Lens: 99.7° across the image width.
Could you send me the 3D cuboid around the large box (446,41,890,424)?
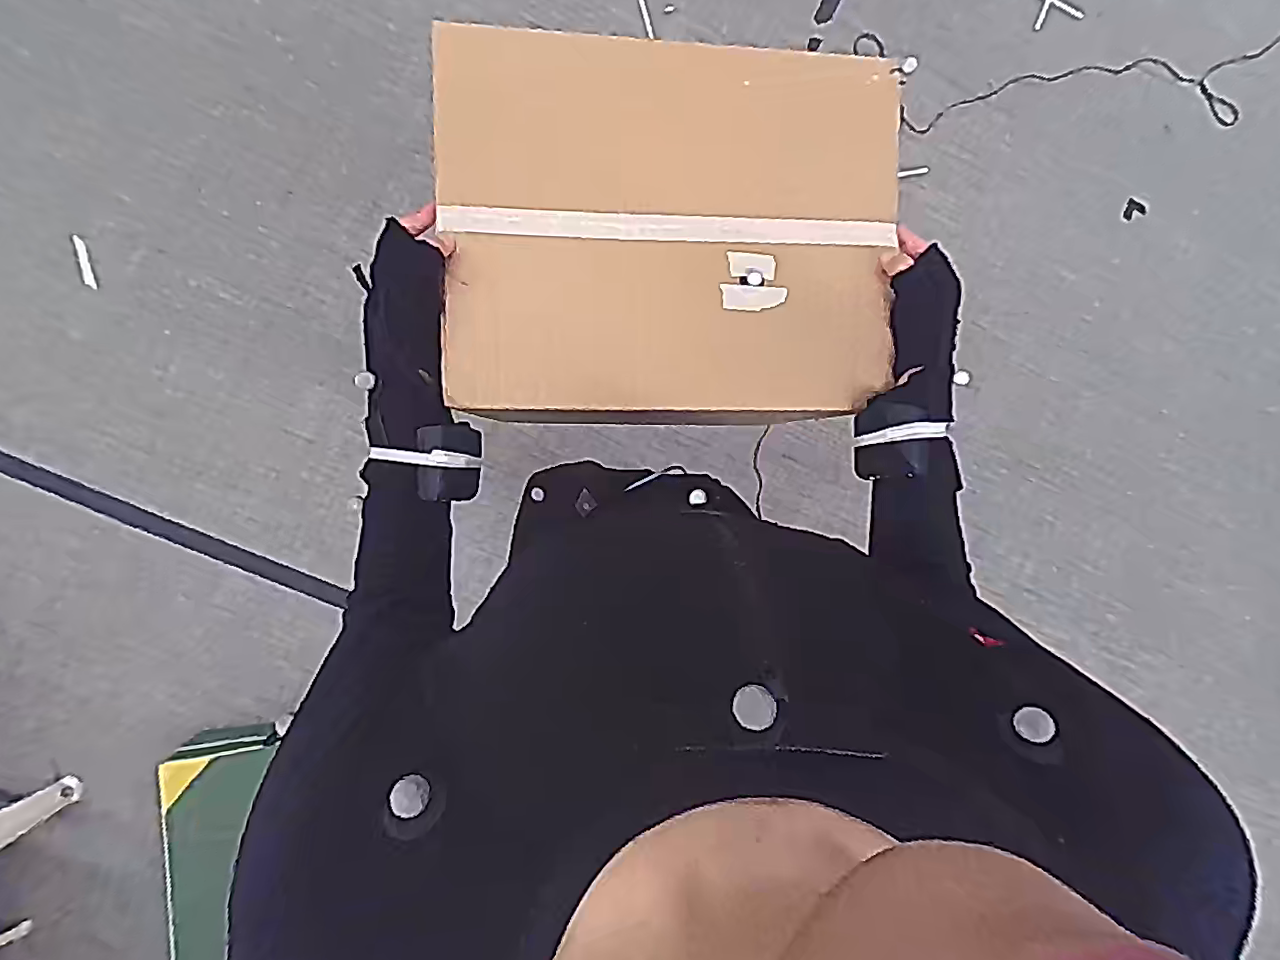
[{"bbox_3d":[0.014,-0.227,0.631,0.408,0.320,0.320,0,95,-7],"label":"large box"}]
